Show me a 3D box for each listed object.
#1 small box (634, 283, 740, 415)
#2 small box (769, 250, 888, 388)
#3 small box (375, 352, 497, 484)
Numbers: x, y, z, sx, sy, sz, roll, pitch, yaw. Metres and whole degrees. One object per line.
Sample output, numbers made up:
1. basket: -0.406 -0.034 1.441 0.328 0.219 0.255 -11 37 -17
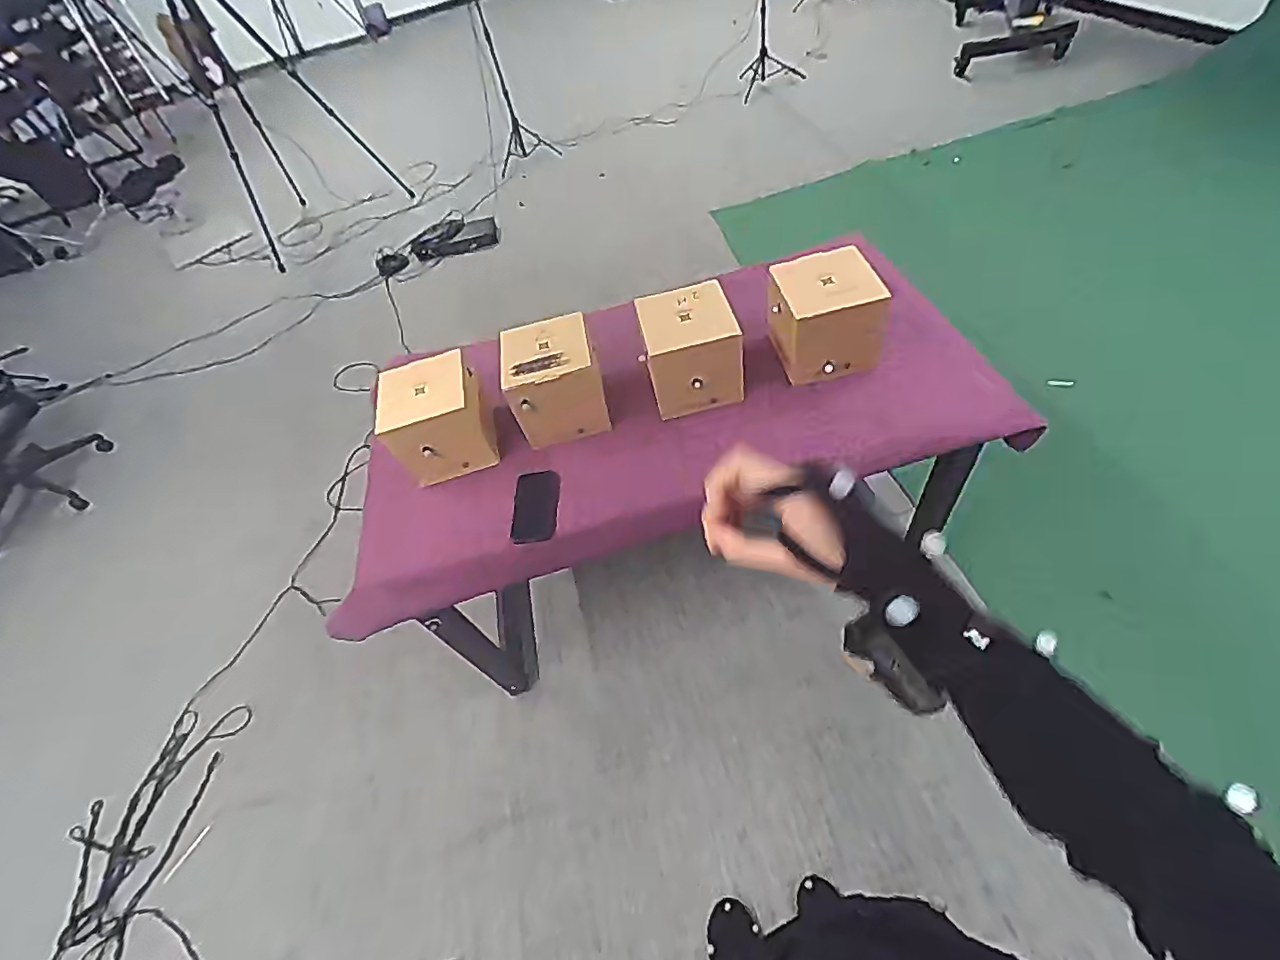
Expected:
1. small box: 0.094 -0.244 1.045 0.168 0.176 0.179 -13 51 2
2. small box: 0.347 -0.305 1.038 0.168 0.176 0.179 -13 51 4
3. small box: -0.389 -0.113 1.052 0.168 0.176 0.179 -18 50 -1
